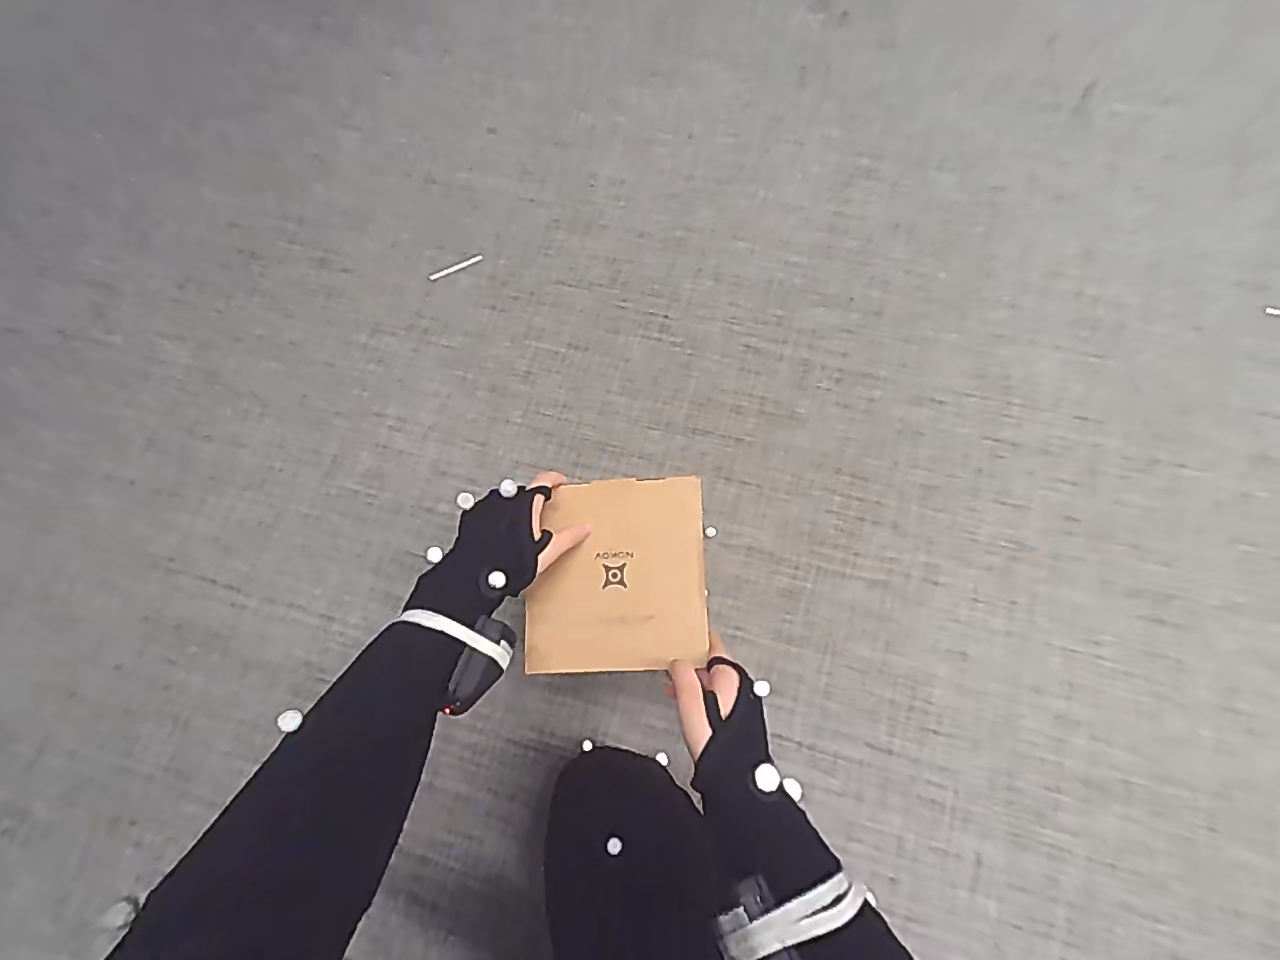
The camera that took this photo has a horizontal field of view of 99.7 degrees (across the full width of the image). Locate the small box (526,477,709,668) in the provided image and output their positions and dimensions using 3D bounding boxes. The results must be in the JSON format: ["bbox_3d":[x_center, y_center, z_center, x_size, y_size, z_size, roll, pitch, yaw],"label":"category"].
[{"bbox_3d":[-0.016,0.104,0.577,0.168,0.176,0.179,-3,75,5],"label":"small box"}]
